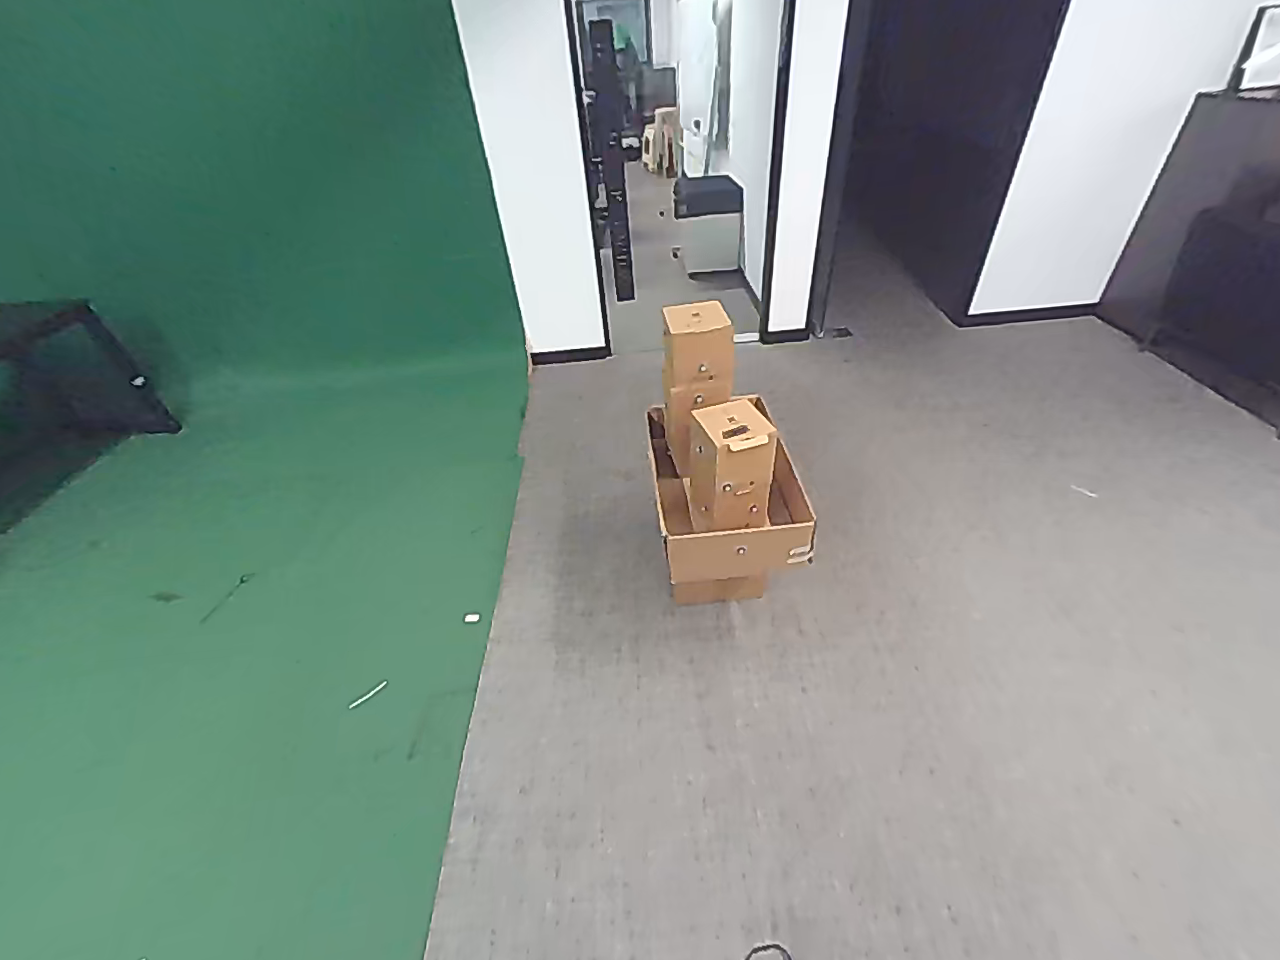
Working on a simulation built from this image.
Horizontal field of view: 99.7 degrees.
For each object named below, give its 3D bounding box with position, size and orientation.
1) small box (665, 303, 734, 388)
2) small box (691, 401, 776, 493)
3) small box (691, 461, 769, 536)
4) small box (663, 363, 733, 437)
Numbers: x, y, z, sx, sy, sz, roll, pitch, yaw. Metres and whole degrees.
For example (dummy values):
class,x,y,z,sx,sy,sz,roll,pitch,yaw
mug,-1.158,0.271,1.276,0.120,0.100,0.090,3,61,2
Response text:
class,x,y,z,sx,sy,sz,roll,pitch,yaw
small box,0.164,-0.382,1.533,0.168,0.176,0.179,-8,41,-1
small box,0.243,-0.082,1.430,0.168,0.176,0.179,-13,40,-11
small box,0.252,0.041,1.538,0.168,0.176,0.179,-14,40,-11
small box,0.172,-0.249,1.632,0.179,0.176,0.168,-9,41,-3
